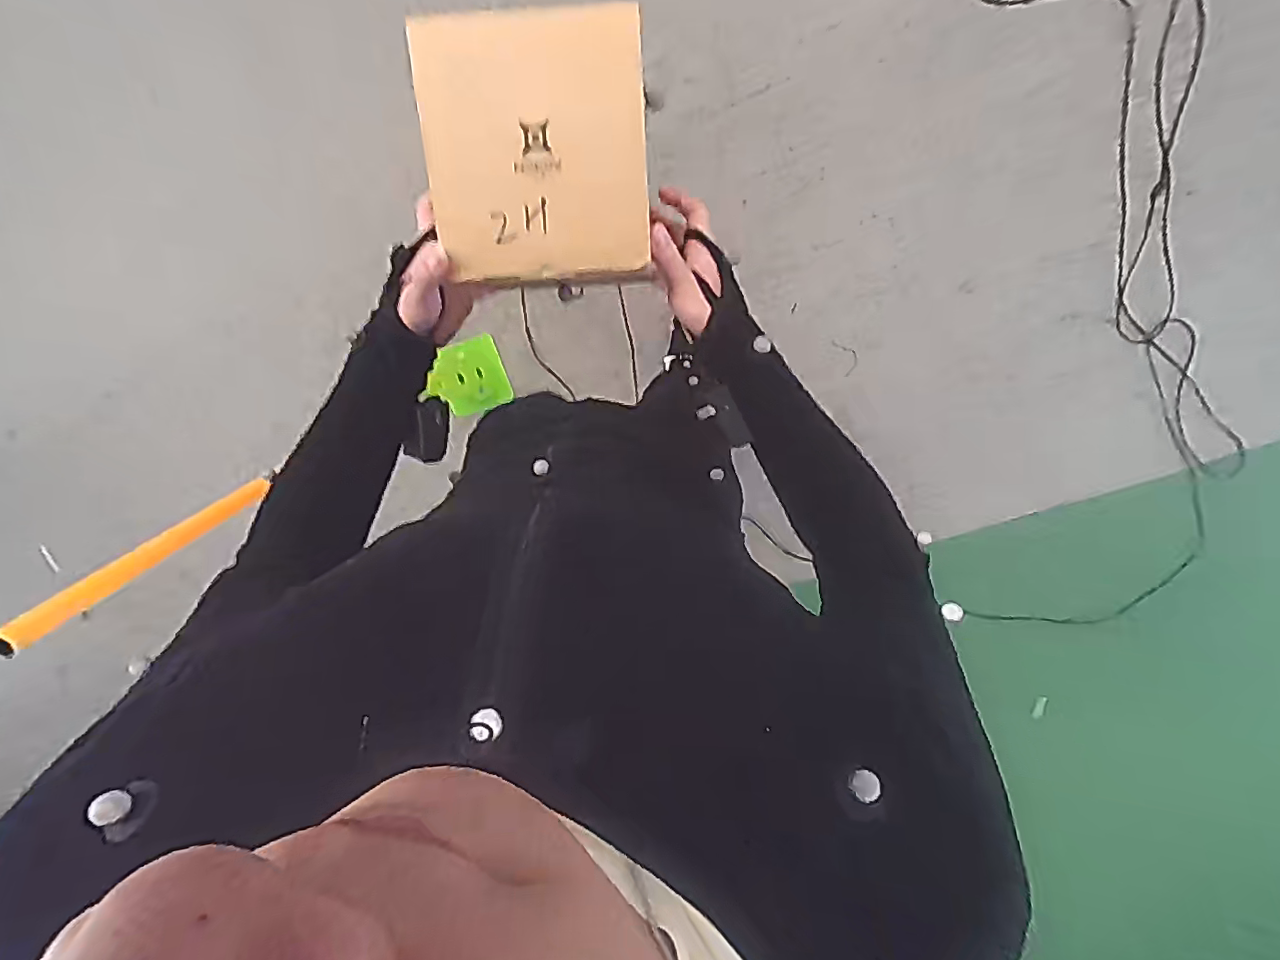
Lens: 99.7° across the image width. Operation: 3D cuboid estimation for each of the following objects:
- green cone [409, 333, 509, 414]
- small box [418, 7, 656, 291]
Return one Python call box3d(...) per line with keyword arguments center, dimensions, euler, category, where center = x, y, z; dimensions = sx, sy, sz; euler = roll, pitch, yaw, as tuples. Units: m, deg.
box3d(center=(-0.514, -0.260, 1.429), dimensions=(0.202, 0.368, 0.200), euler=(-17, 106, 8), category="green cone")
box3d(center=(-0.074, -0.270, 0.483), dimensions=(0.168, 0.176, 0.179), euler=(-3, 107, 1), category="small box")
